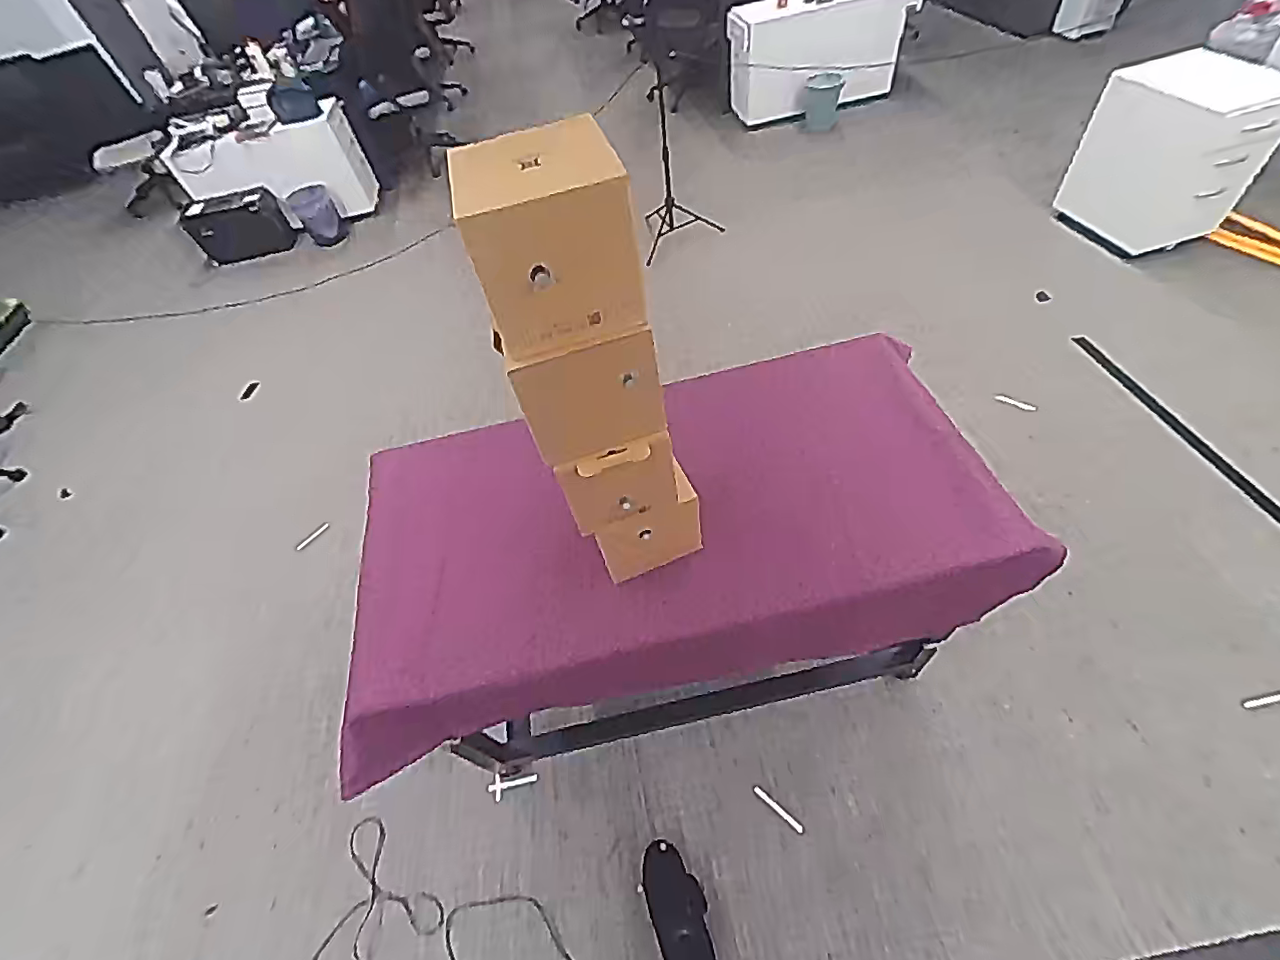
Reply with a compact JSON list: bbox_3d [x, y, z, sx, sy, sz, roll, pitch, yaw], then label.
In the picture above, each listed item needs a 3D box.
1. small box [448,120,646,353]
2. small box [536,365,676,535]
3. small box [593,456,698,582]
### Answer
[{"bbox_3d":[-0.099,-0.262,0.604,0.168,0.176,0.179,-17,51,-3],"label":"small box"},{"bbox_3d":[-0.050,-0.044,0.844,0.168,0.176,0.179,-18,52,-3],"label":"small box"},{"bbox_3d":[-0.006,0.056,0.969,0.179,0.176,0.168,-21,52,-8],"label":"small box"}]
